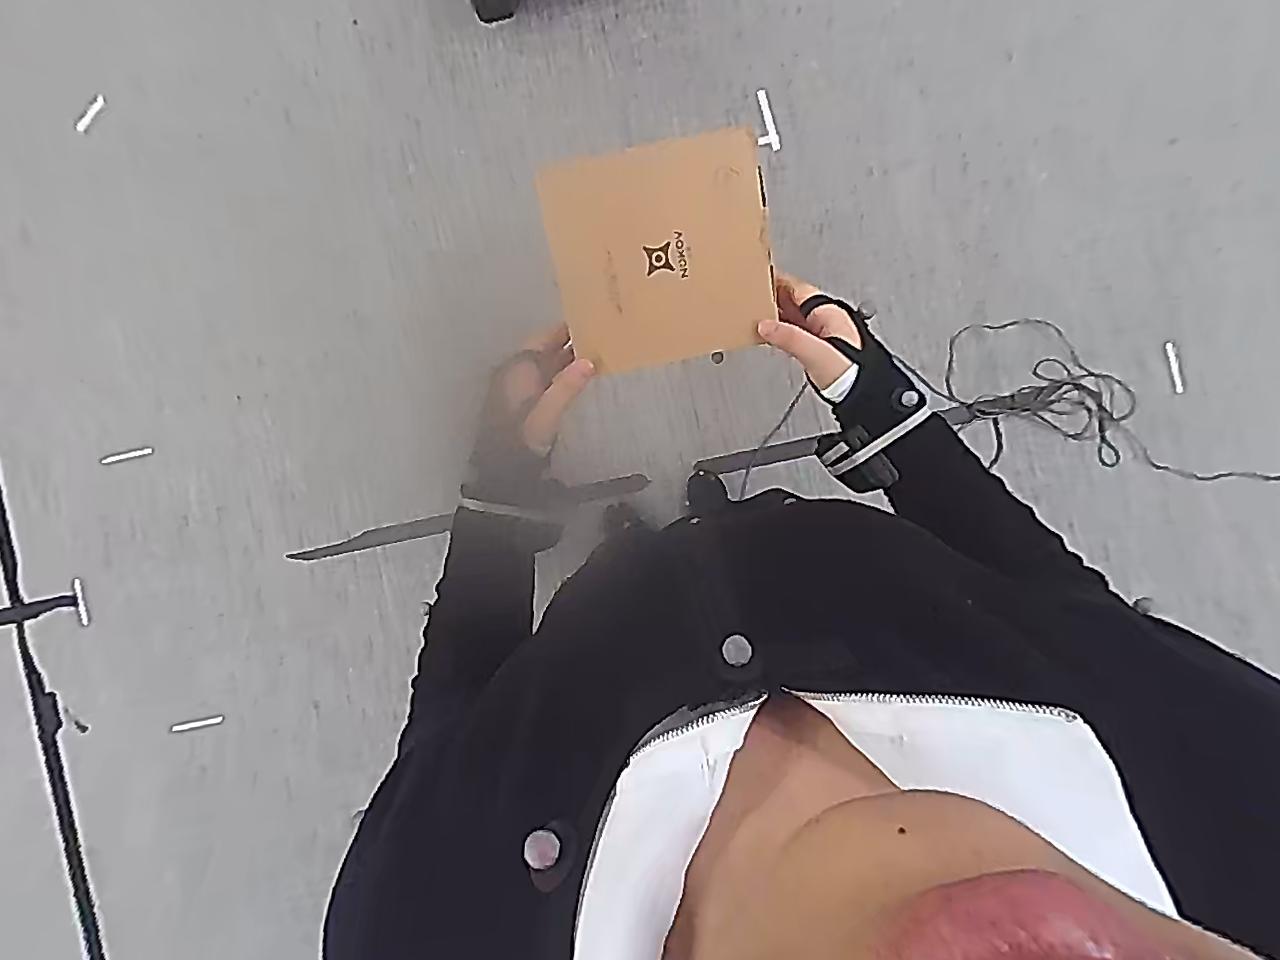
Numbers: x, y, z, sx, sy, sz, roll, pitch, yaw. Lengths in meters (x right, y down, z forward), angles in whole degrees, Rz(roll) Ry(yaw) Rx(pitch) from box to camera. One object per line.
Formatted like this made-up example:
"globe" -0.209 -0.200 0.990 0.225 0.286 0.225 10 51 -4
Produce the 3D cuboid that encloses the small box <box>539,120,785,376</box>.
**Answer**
"small box" 0.019 -0.201 0.508 0.179 0.176 0.168 -12 105 2
